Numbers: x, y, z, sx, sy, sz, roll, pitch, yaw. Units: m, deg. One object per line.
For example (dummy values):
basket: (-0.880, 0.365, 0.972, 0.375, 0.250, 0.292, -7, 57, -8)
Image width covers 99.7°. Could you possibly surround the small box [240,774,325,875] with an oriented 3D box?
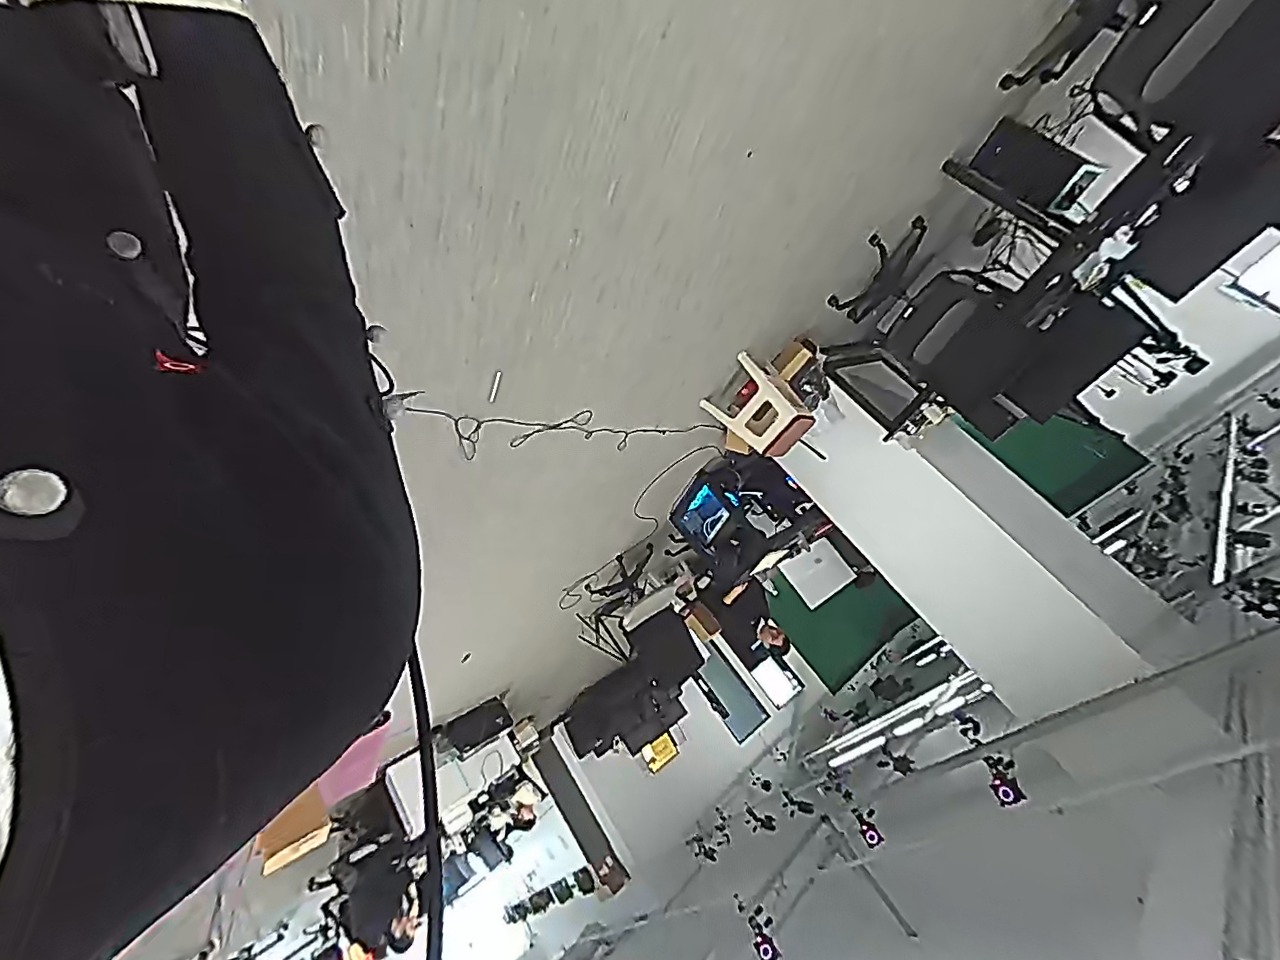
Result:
small box: (-1.053, 1.003, 1.588, 0.168, 0.176, 0.179, -13, 146, -46)
